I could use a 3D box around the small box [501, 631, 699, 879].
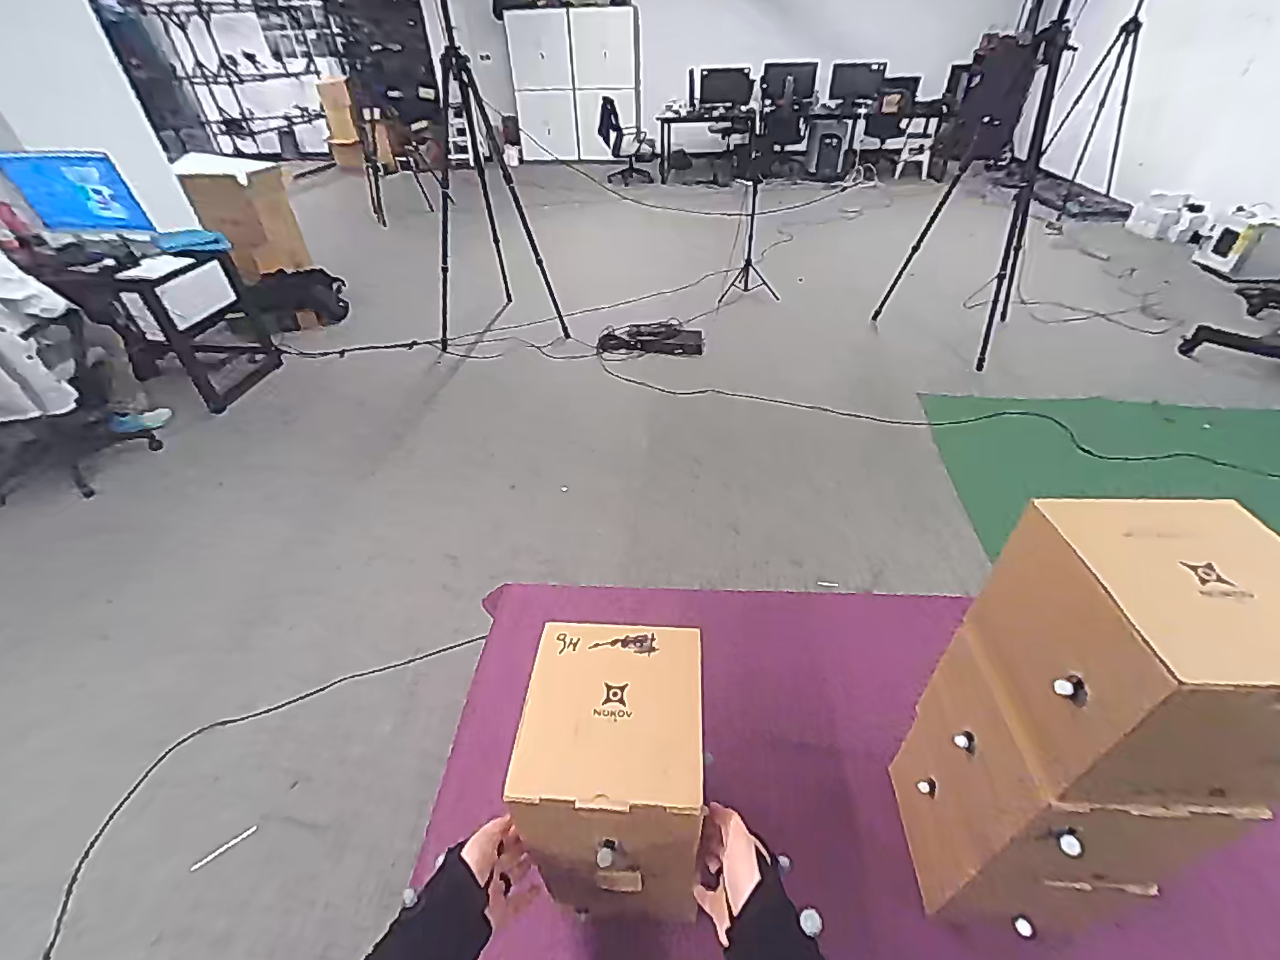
[{"bbox_3d":[-0.024,0.276,0.547,0.168,0.176,0.179,1,40,4],"label":"small box"}]

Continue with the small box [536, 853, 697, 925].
[{"bbox_3d":[-0.016,0.405,0.649,0.168,0.176,0.179,0,38,3],"label":"small box"}]

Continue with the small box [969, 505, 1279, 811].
[{"bbox_3d":[0.404,0.139,0.431,0.168,0.176,0.179,1,38,3],"label":"small box"}]

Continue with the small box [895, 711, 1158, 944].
[{"bbox_3d":[0.418,0.399,0.629,0.168,0.176,0.179,1,39,6],"label":"small box"}]
